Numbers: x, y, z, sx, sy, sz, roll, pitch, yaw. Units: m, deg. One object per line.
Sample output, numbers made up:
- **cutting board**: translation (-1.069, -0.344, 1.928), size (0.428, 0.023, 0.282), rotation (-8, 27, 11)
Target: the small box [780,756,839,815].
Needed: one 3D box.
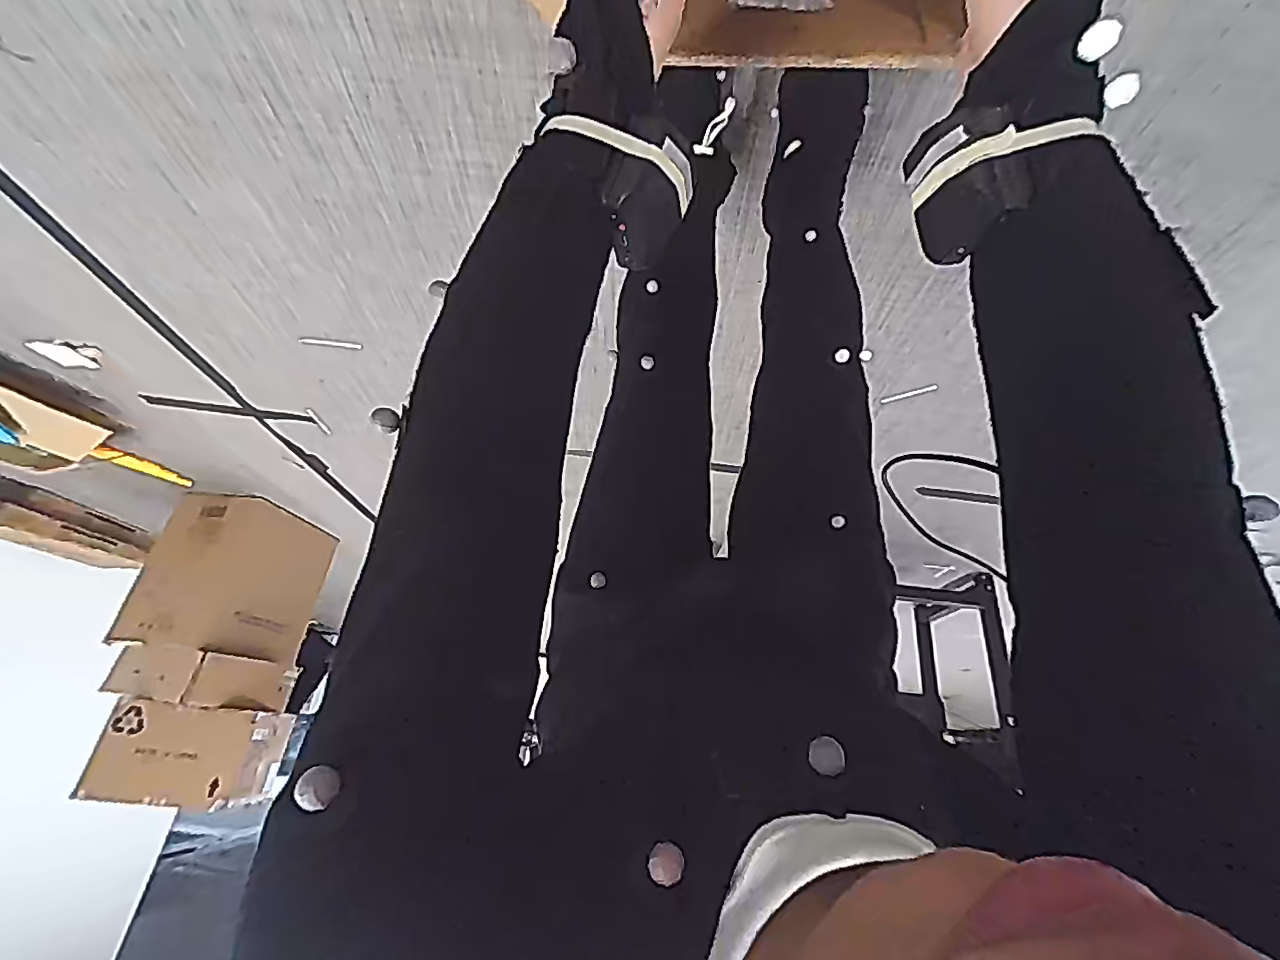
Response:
- **small box**: translation (0.628, 1.133, 2.014), size (0.168, 0.176, 0.179), rotation (7, 153, 0)
